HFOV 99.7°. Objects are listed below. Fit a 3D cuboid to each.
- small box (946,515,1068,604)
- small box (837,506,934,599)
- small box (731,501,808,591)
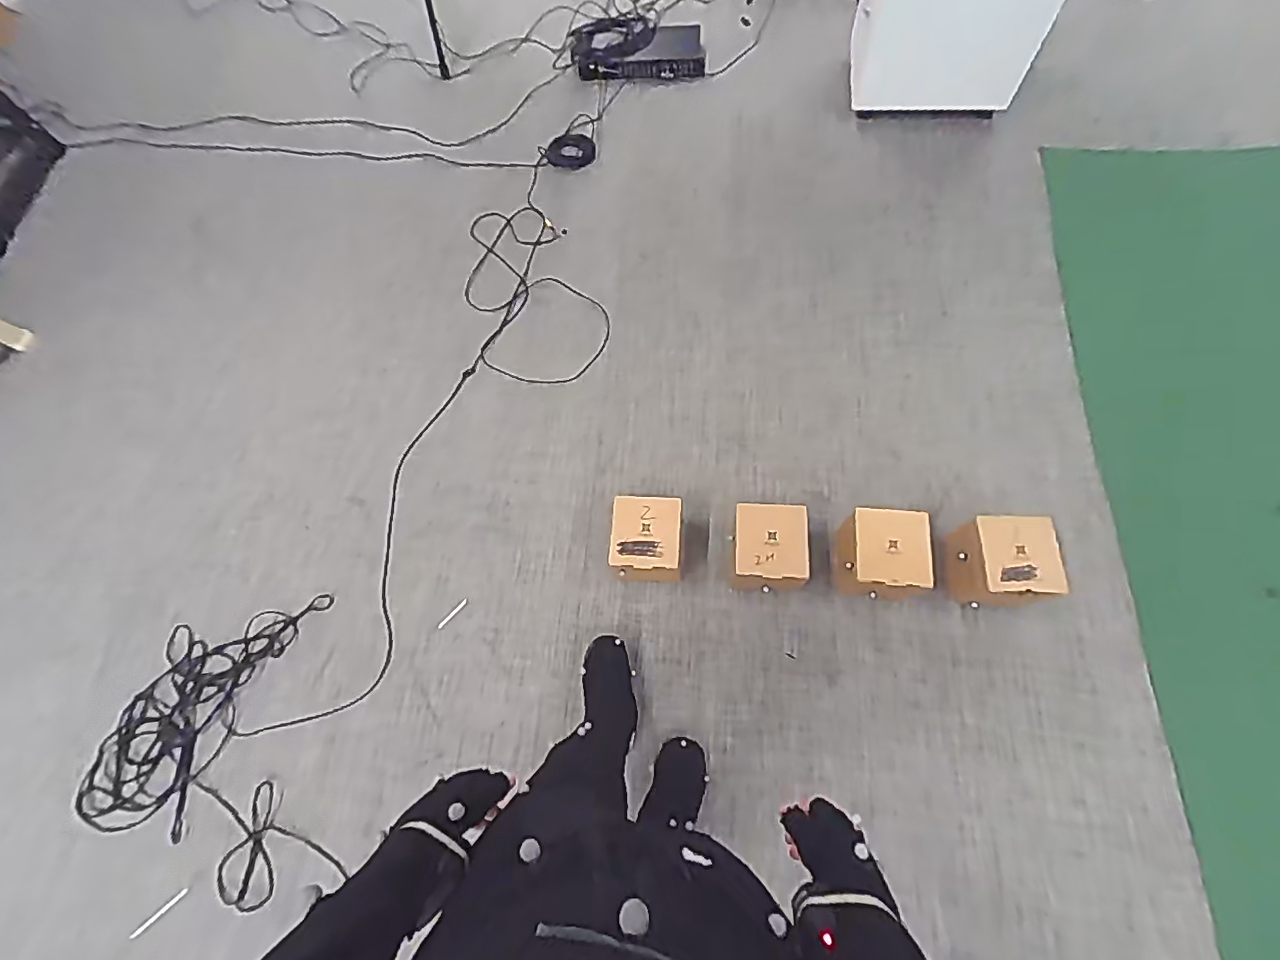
[{"bbox_3d":[0.844,0.190,1.263,0.168,0.176,0.179,1,68,5],"label":"small box"},{"bbox_3d":[0.576,0.177,1.292,0.168,0.176,0.179,4,70,6],"label":"small box"},{"bbox_3d":[0.309,0.164,1.318,0.168,0.176,0.179,2,70,7],"label":"small box"}]
